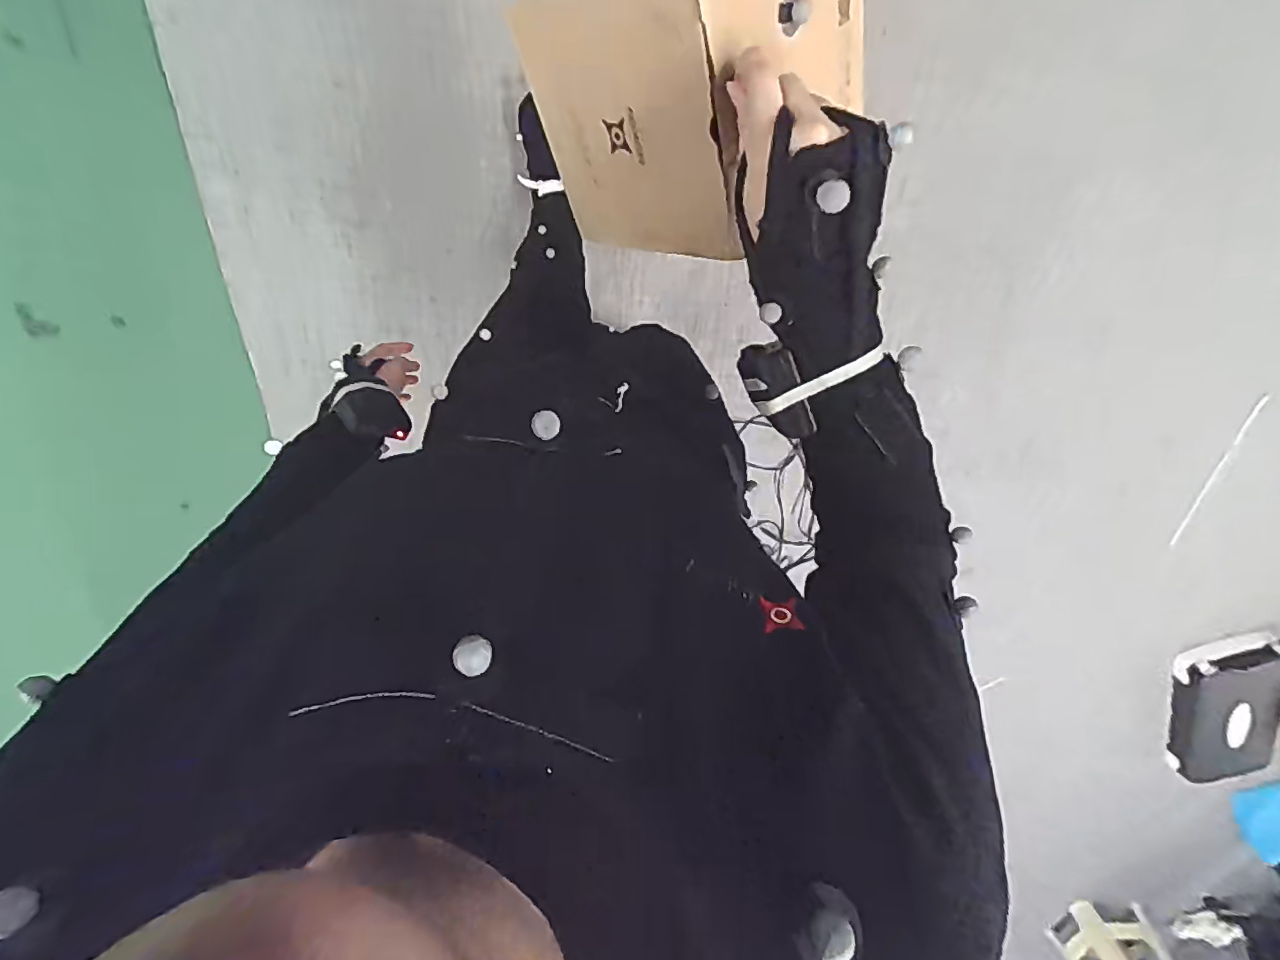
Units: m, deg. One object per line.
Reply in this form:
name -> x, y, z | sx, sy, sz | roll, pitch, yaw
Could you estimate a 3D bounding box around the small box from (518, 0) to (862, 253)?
small box -> 0.049, -0.294, 0.404 | 0.176, 0.179, 0.168 | -42, 136, -22
